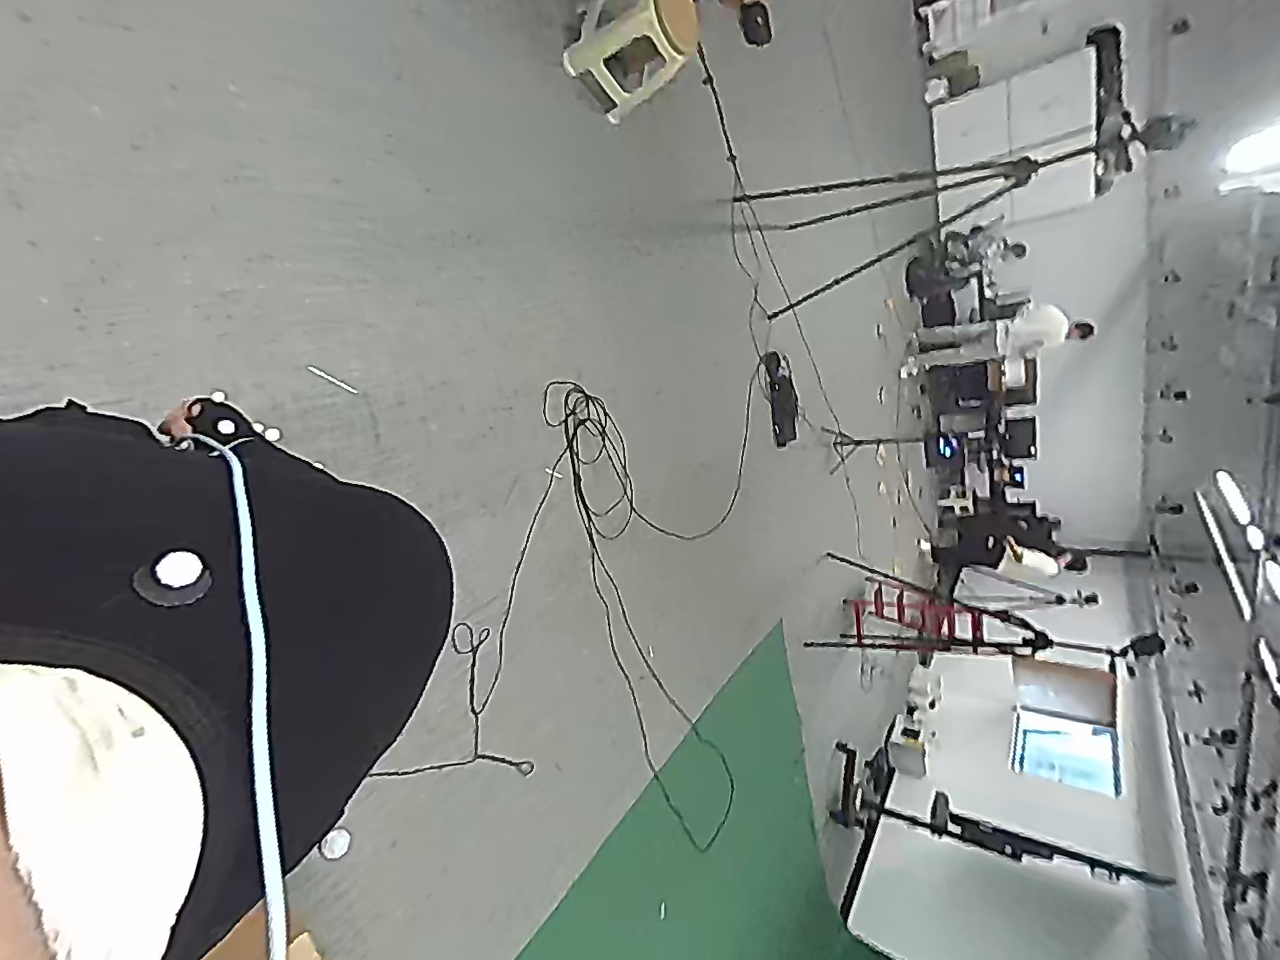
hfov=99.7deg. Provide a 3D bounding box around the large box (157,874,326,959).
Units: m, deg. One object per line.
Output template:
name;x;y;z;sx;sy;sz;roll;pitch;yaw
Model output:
large box;-0.949;1.238;1.225;0.408;0.320;0.320;-28;110;-46
